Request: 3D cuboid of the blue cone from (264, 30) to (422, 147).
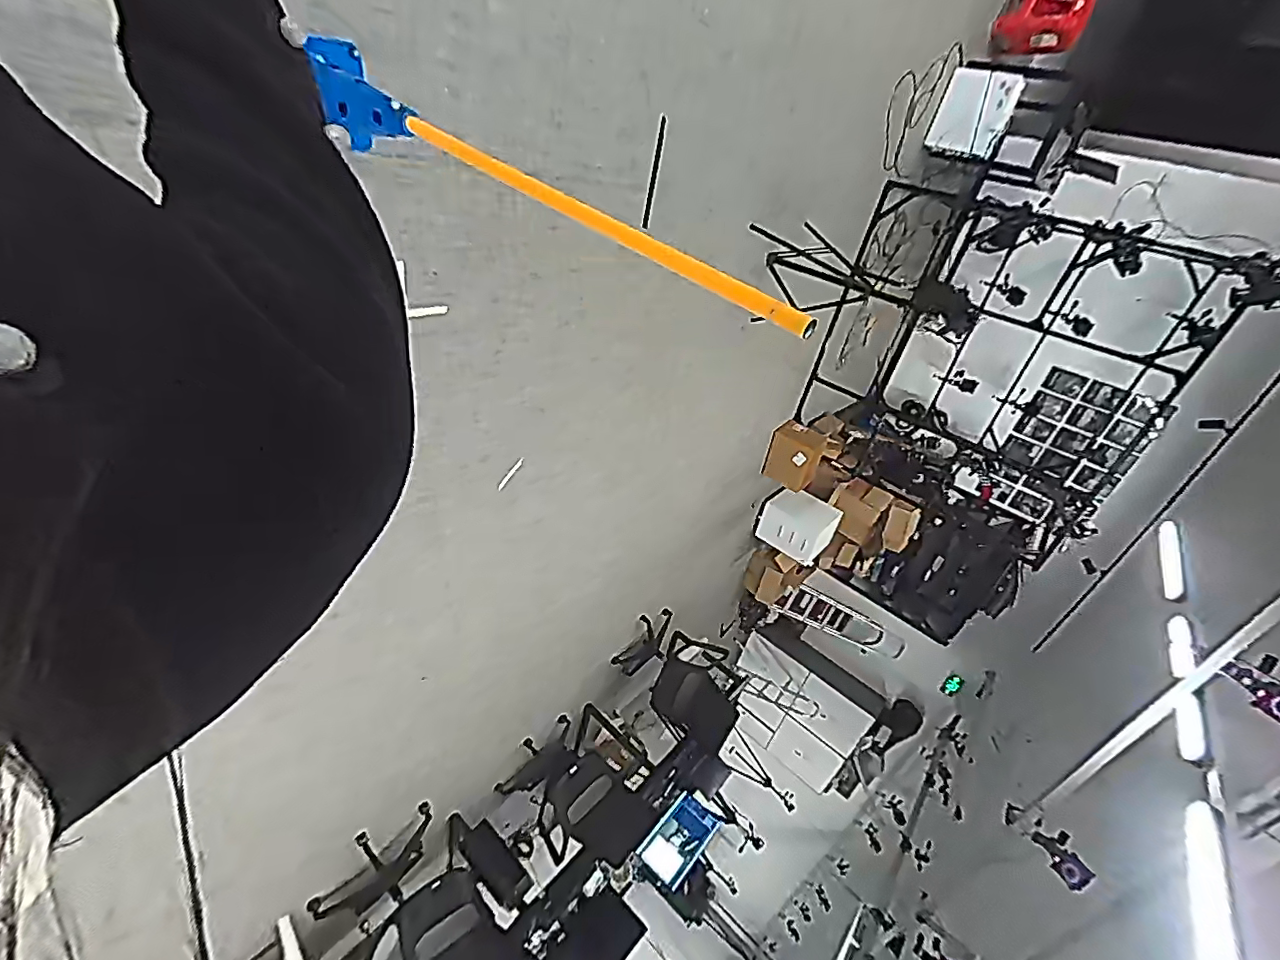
[{"bbox_3d":[-0.543,-0.737,1.057,0.193,0.380,0.192,-29,140,-43],"label":"blue cone"}]
